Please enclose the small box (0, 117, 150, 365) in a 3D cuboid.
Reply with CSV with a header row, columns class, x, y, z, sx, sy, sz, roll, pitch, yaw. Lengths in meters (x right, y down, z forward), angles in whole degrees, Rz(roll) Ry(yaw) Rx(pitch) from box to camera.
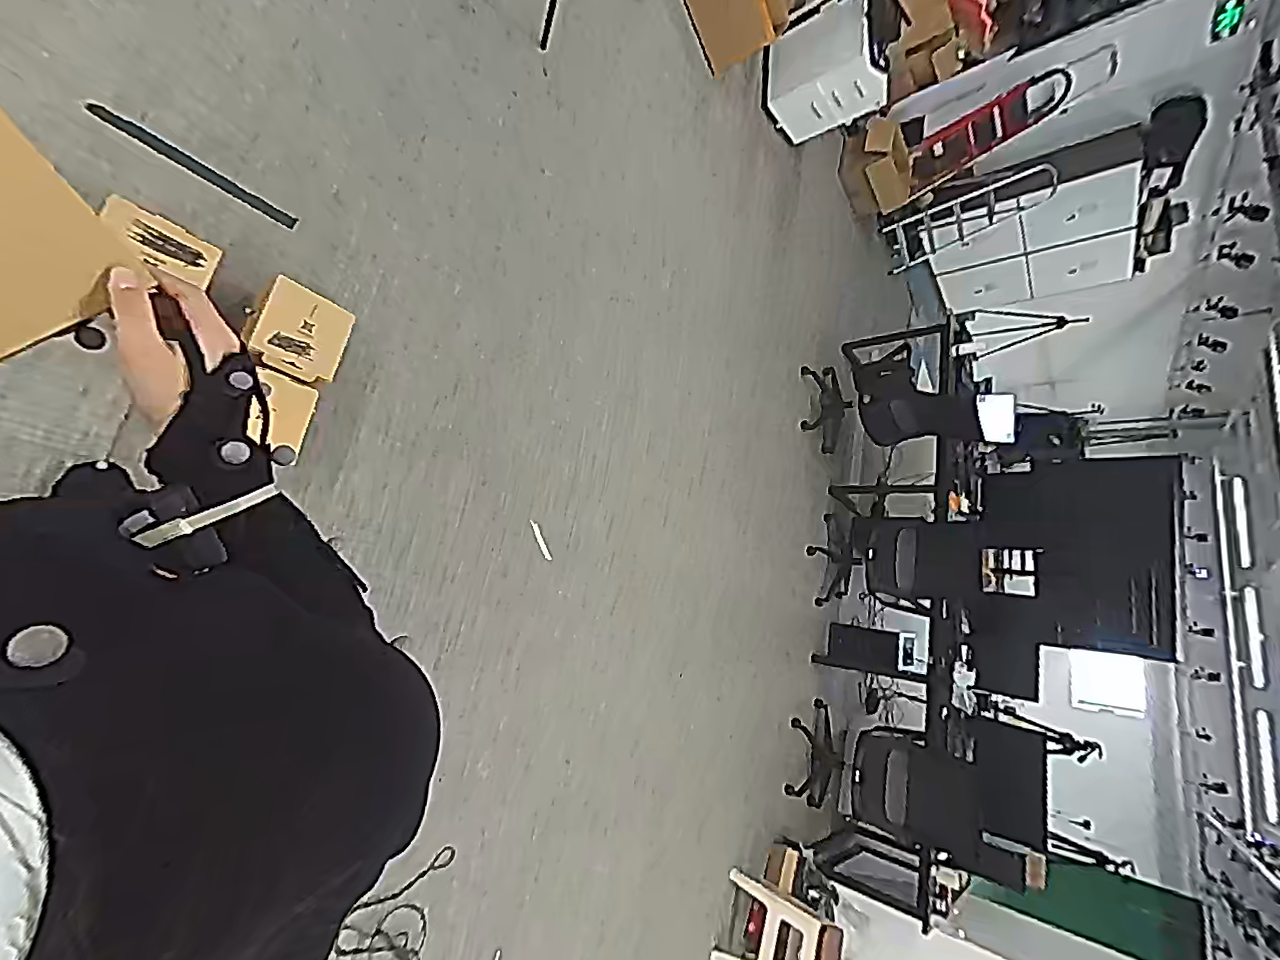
class,x,y,z,sx,sy,sz,roll,pitch,yaw
small box,-0.448,-0.134,0.301,0.179,0.176,0.168,-54,135,-34
